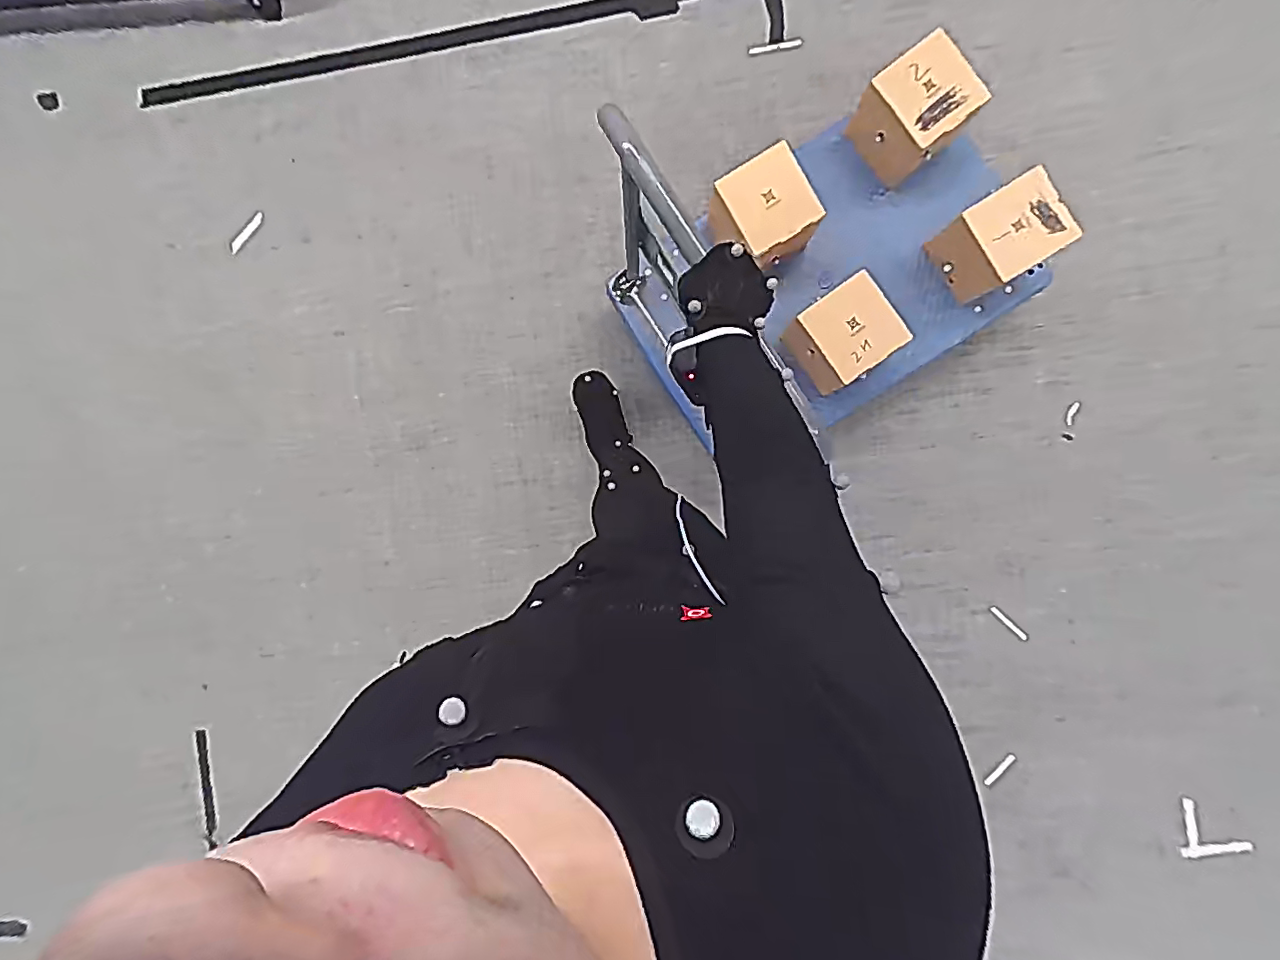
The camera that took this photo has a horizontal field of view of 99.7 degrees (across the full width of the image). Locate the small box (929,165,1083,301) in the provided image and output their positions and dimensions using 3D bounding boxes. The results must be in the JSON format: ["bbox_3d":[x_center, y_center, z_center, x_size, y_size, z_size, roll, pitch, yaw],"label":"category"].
[{"bbox_3d":[0.757,-0.509,1.140,0.179,0.176,0.168,-31,90,5],"label":"small box"}]

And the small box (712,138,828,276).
[{"bbox_3d":[0.268,-0.576,1.166,0.168,0.176,0.179,-30,92,4],"label":"small box"}]

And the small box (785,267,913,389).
[{"bbox_3d":[0.437,-0.316,1.166,0.168,0.176,0.179,-34,90,4],"label":"small box"}]
